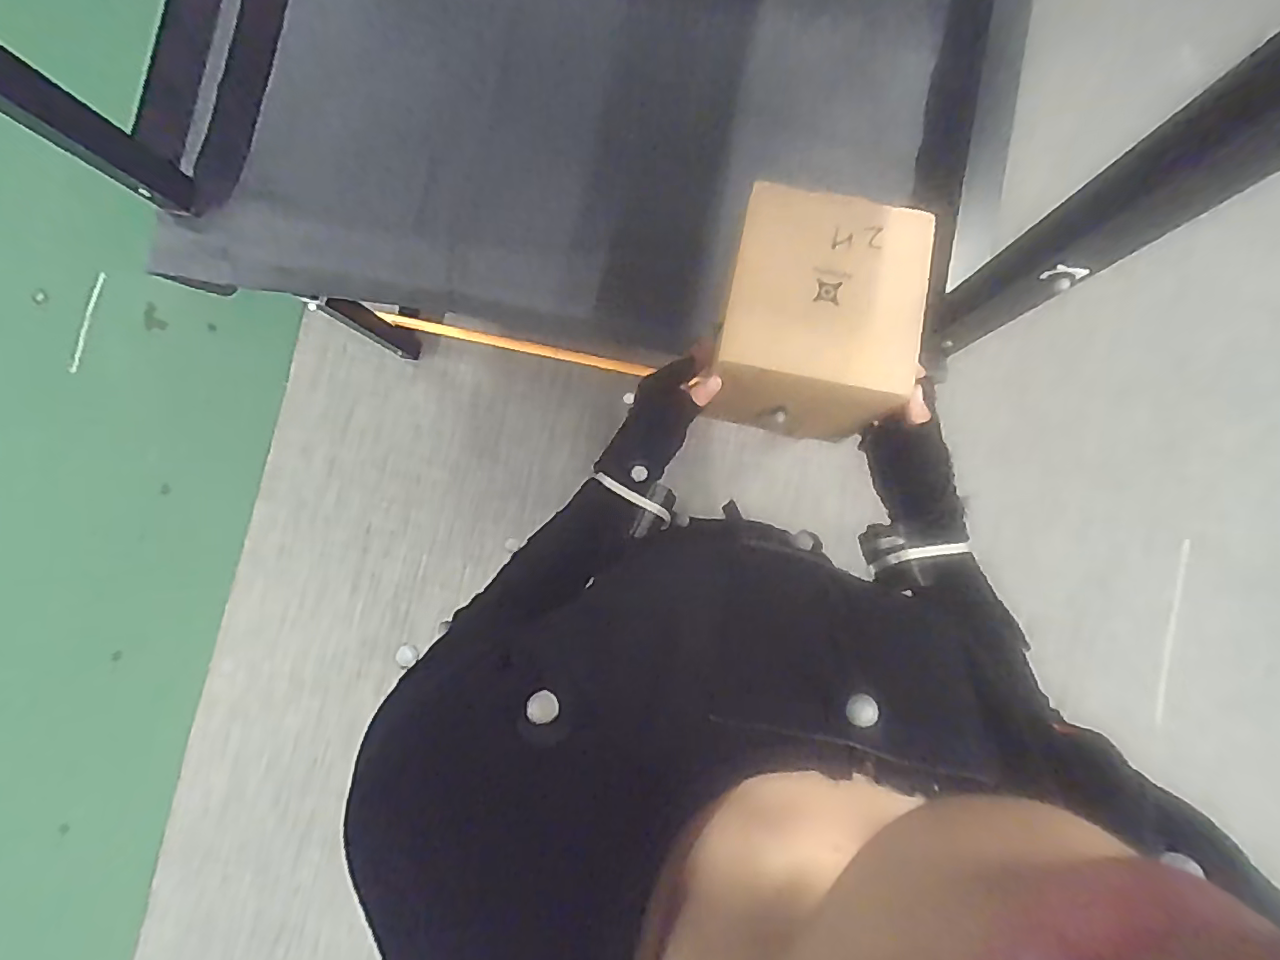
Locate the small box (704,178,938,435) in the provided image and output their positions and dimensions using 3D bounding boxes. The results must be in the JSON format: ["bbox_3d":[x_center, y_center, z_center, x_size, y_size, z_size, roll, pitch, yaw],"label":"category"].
[{"bbox_3d":[0.163,-0.155,0.541,0.168,0.176,0.179,12,81,1],"label":"small box"}]
